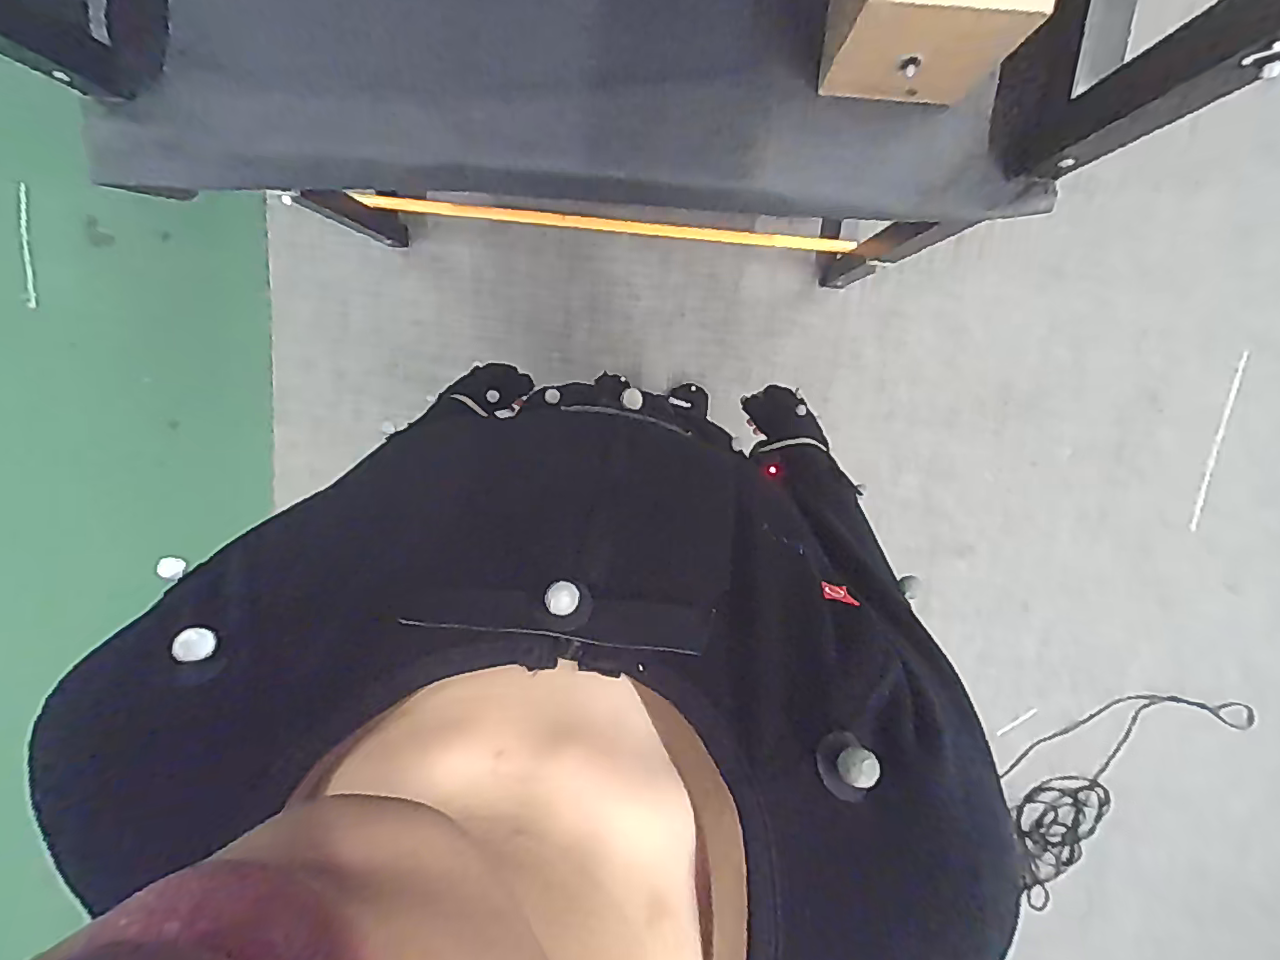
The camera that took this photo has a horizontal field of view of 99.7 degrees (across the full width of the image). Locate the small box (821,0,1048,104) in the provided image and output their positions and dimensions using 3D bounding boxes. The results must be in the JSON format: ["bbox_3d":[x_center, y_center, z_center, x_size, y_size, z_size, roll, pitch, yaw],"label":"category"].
[{"bbox_3d":[0.297,-0.521,0.553,0.168,0.176,0.179,6,100,1],"label":"small box"}]
